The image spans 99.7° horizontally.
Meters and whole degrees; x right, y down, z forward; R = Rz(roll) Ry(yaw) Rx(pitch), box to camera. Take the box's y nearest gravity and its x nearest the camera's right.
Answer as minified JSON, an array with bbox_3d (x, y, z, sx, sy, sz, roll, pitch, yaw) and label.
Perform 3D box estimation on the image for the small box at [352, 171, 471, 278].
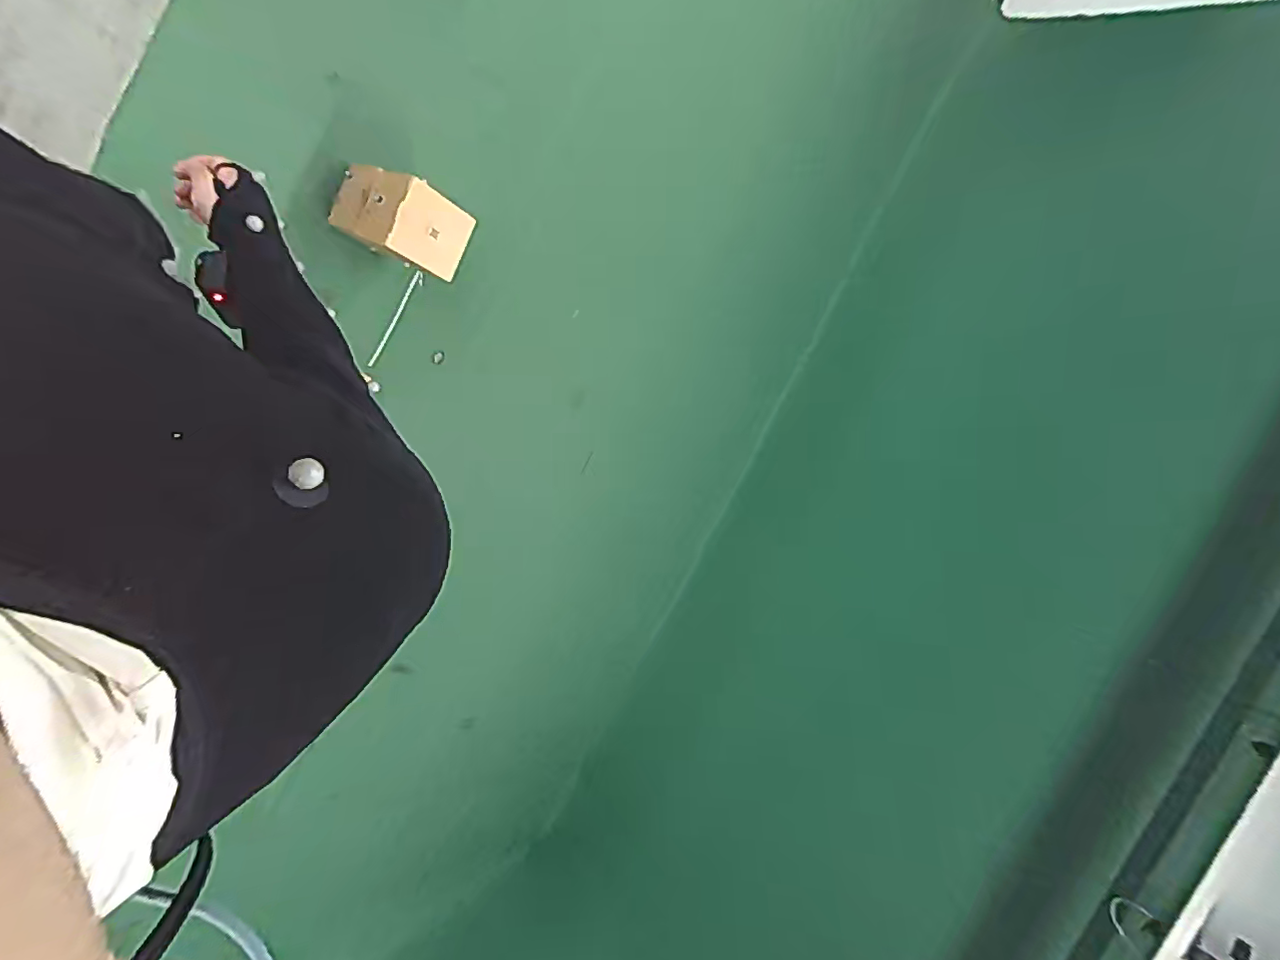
[{"bbox_3d":[-0.549,-0.615,1.296,0.179,0.176,0.168,18,100,-54],"label":"small box"}]

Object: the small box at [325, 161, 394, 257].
[{"bbox_3d":[-0.667,-0.685,1.383,0.179,0.176,0.168,20,98,-55],"label":"small box"}]
